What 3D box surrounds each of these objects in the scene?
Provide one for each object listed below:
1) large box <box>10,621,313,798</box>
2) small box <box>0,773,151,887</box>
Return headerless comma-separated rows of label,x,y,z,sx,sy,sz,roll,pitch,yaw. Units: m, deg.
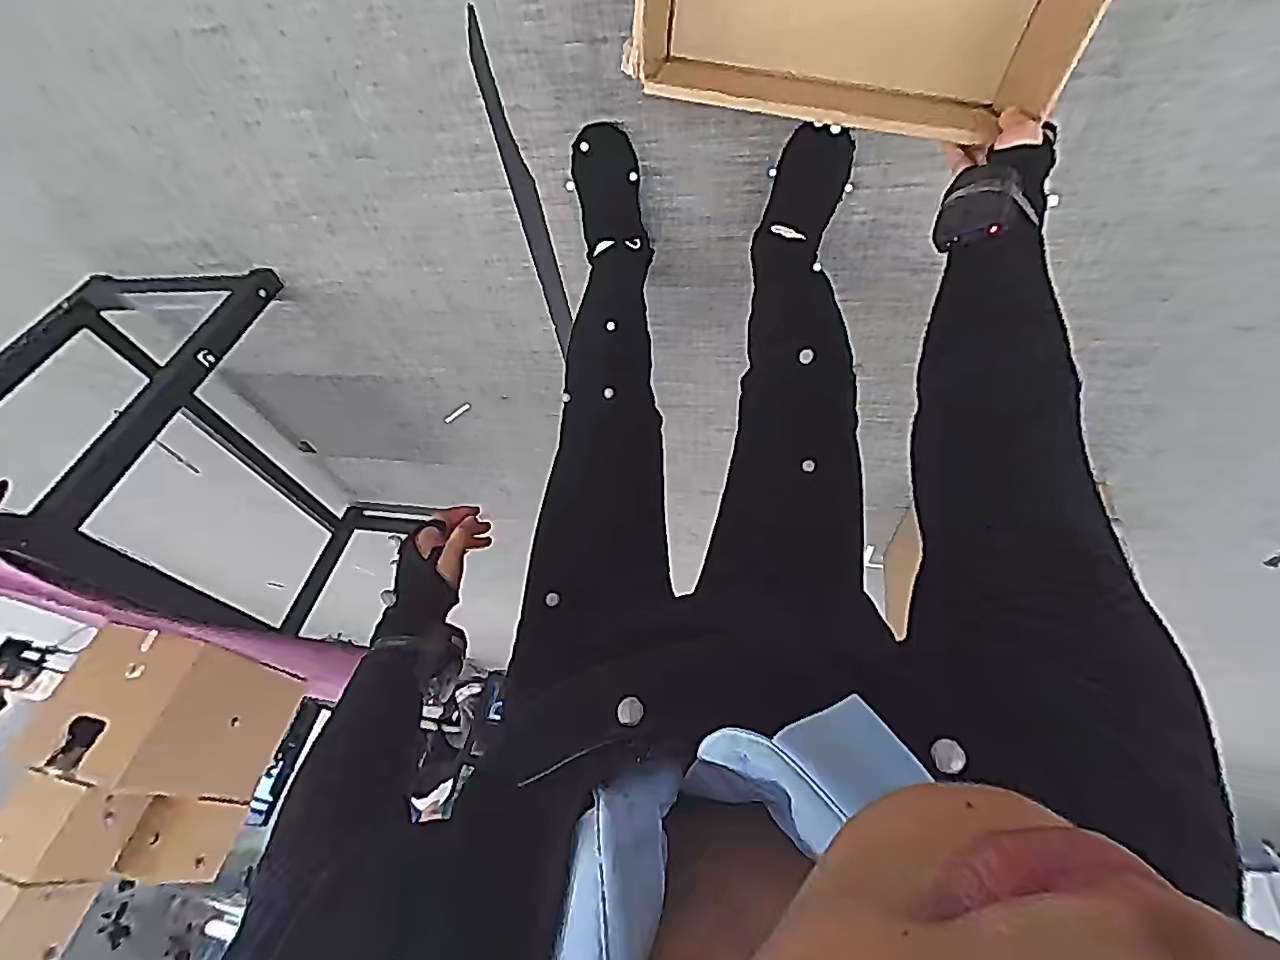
large box,-1.137,0.580,1.351,0.320,0.320,0.408,7,148,13
small box,-1.197,0.721,1.128,0.179,0.176,0.168,6,149,12
